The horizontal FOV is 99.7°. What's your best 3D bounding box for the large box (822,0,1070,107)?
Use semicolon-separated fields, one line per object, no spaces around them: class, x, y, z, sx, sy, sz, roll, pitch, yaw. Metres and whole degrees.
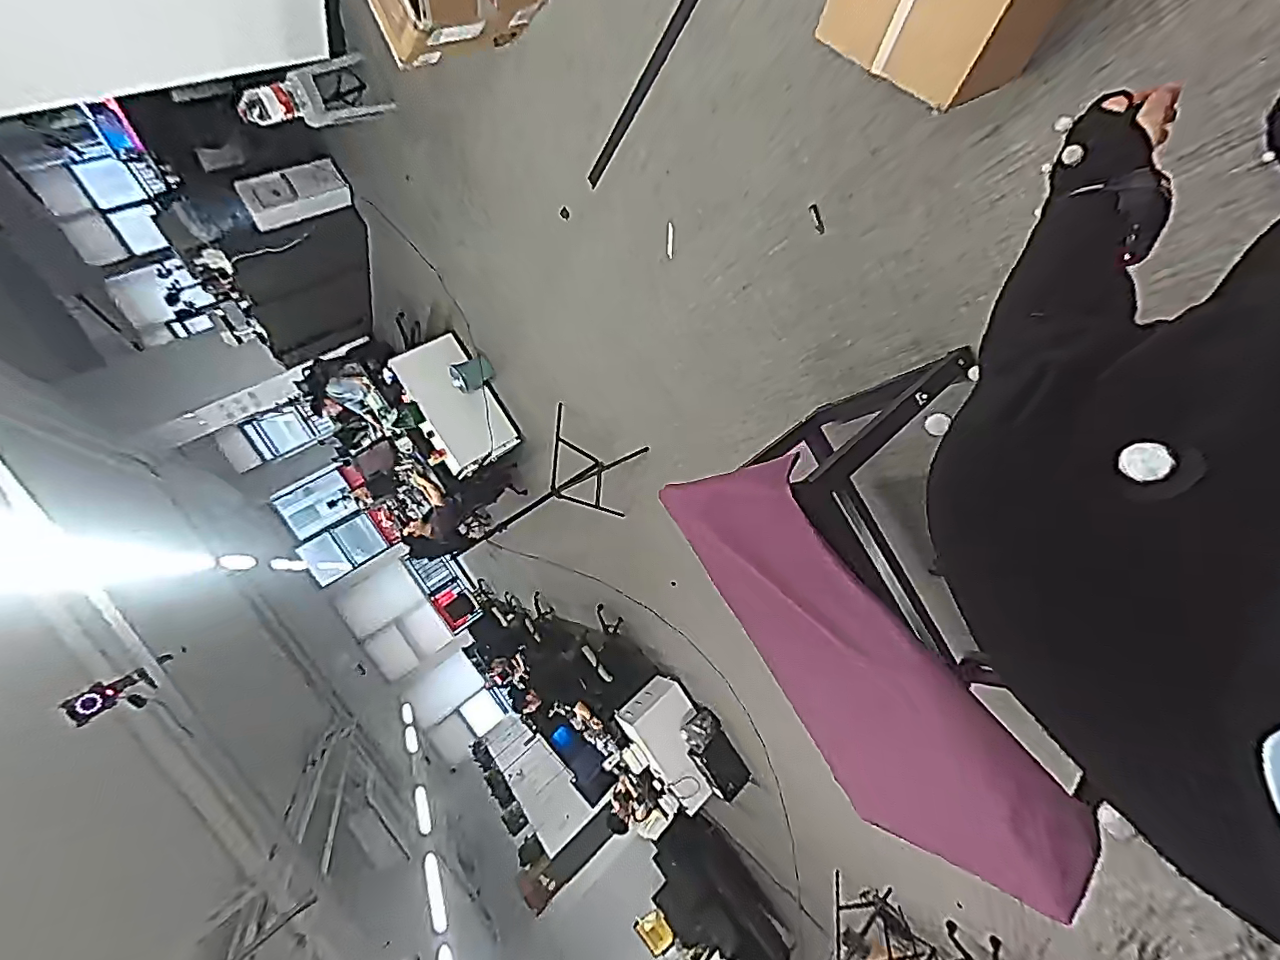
large box;0.584;-0.940;0.893;0.320;0.320;0.408;47;155;18
